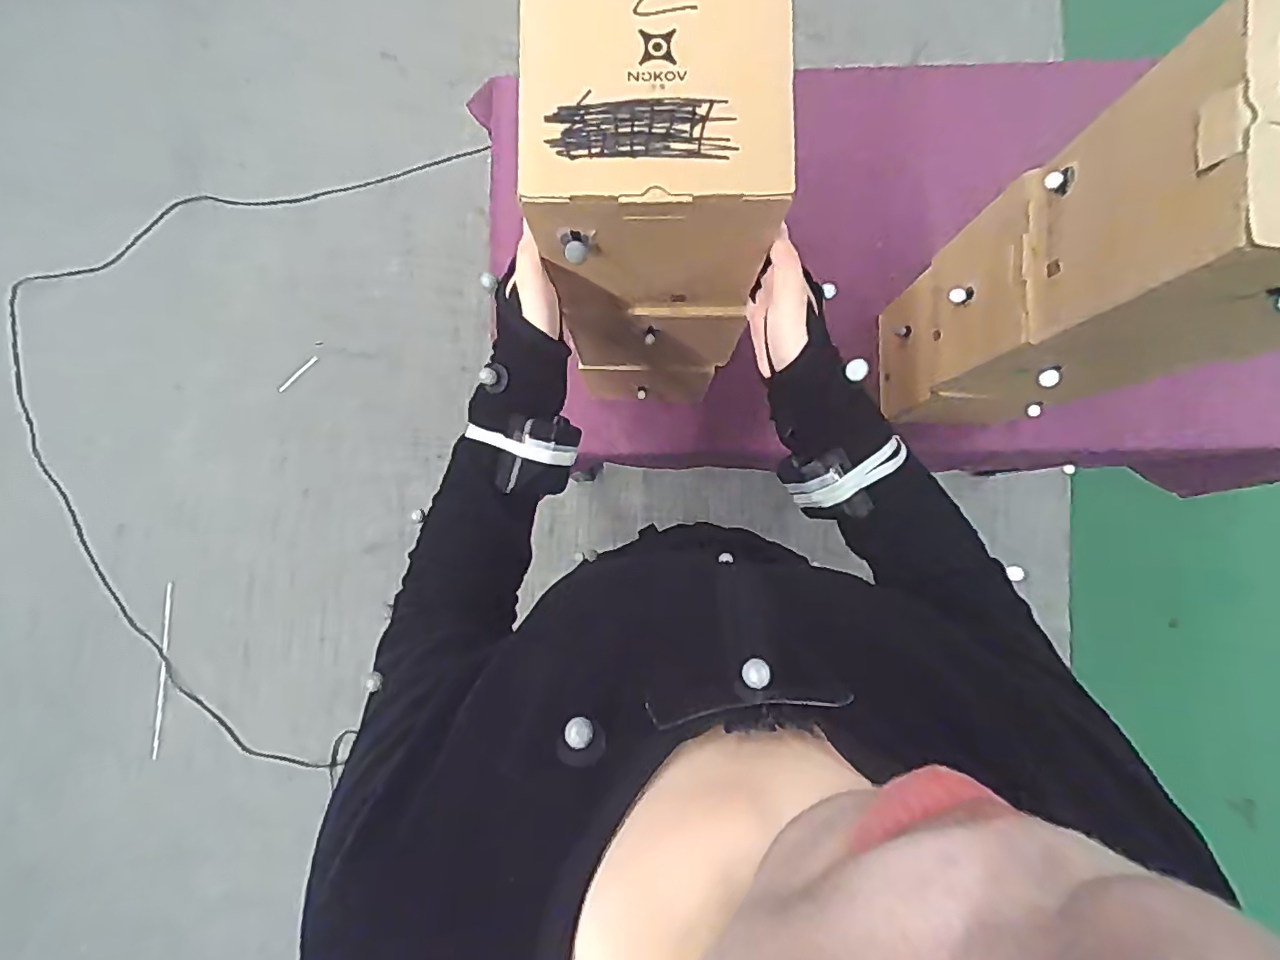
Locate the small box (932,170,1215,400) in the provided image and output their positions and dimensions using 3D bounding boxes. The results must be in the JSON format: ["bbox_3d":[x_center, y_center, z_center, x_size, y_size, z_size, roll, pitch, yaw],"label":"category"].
[{"bbox_3d":[0.427,-0.184,0.555,0.179,0.176,0.168,5,86,2],"label":"small box"}]

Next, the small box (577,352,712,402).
[{"bbox_3d":[0.012,-0.207,0.729,0.168,0.176,0.179,2,86,1],"label":"small box"}]

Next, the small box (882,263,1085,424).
[{"bbox_3d":[0.438,-0.170,0.719,0.179,0.176,0.168,1,85,1],"label":"small box"}]

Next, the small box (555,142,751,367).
[{"bbox_3d":[0.014,-0.220,0.567,0.179,0.176,0.168,1,87,1],"label":"small box"}]

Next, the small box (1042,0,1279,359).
[{"bbox_3d":[0.432,-0.194,0.390,0.179,0.176,0.168,5,85,0],"label":"small box"}]
